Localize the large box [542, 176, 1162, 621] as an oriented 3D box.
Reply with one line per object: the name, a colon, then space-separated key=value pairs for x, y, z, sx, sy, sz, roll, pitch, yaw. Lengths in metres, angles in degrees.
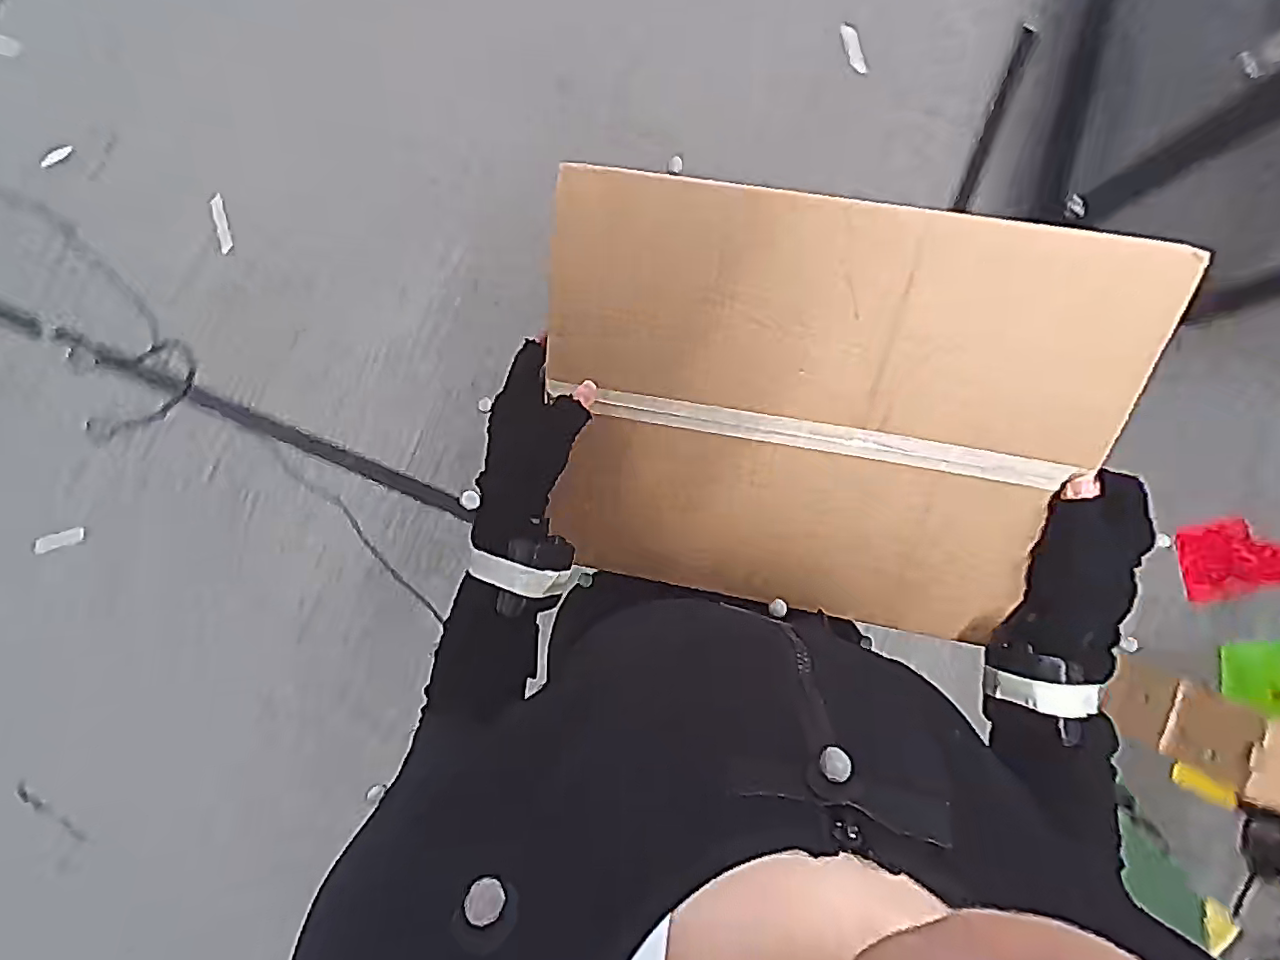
large box: x=0.138 y=-0.104 z=0.552 sx=0.408 sy=0.320 sz=0.320 roll=9 pitch=117 yaw=5
